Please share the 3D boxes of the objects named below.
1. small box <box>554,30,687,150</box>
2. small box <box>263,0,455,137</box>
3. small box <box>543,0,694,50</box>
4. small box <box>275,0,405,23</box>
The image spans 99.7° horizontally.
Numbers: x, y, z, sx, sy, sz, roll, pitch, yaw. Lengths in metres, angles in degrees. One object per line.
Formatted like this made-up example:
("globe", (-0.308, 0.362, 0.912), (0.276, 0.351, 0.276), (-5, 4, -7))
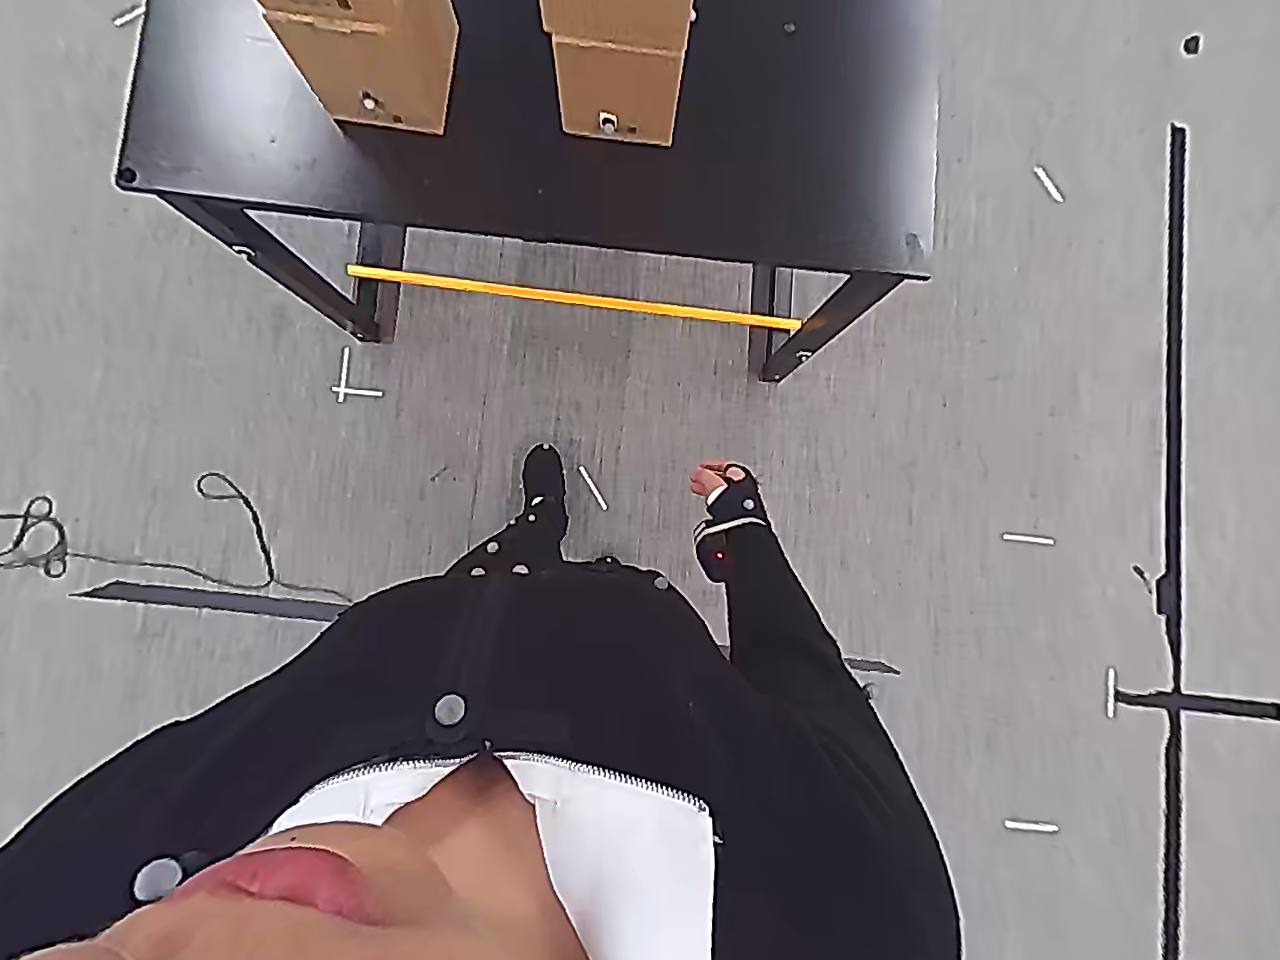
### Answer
("small box", (-0.023, -0.603, 0.751), (0.168, 0.176, 0.179), (4, 86, -2))
("small box", (-0.359, -0.612, 0.728), (0.168, 0.176, 0.179), (7, 85, -3))
("small box", (-0.018, -0.617, 0.587), (0.179, 0.176, 0.168), (6, 85, -3))
("small box", (-0.350, -0.634, 0.566), (0.168, 0.176, 0.179), (4, 86, -4))
